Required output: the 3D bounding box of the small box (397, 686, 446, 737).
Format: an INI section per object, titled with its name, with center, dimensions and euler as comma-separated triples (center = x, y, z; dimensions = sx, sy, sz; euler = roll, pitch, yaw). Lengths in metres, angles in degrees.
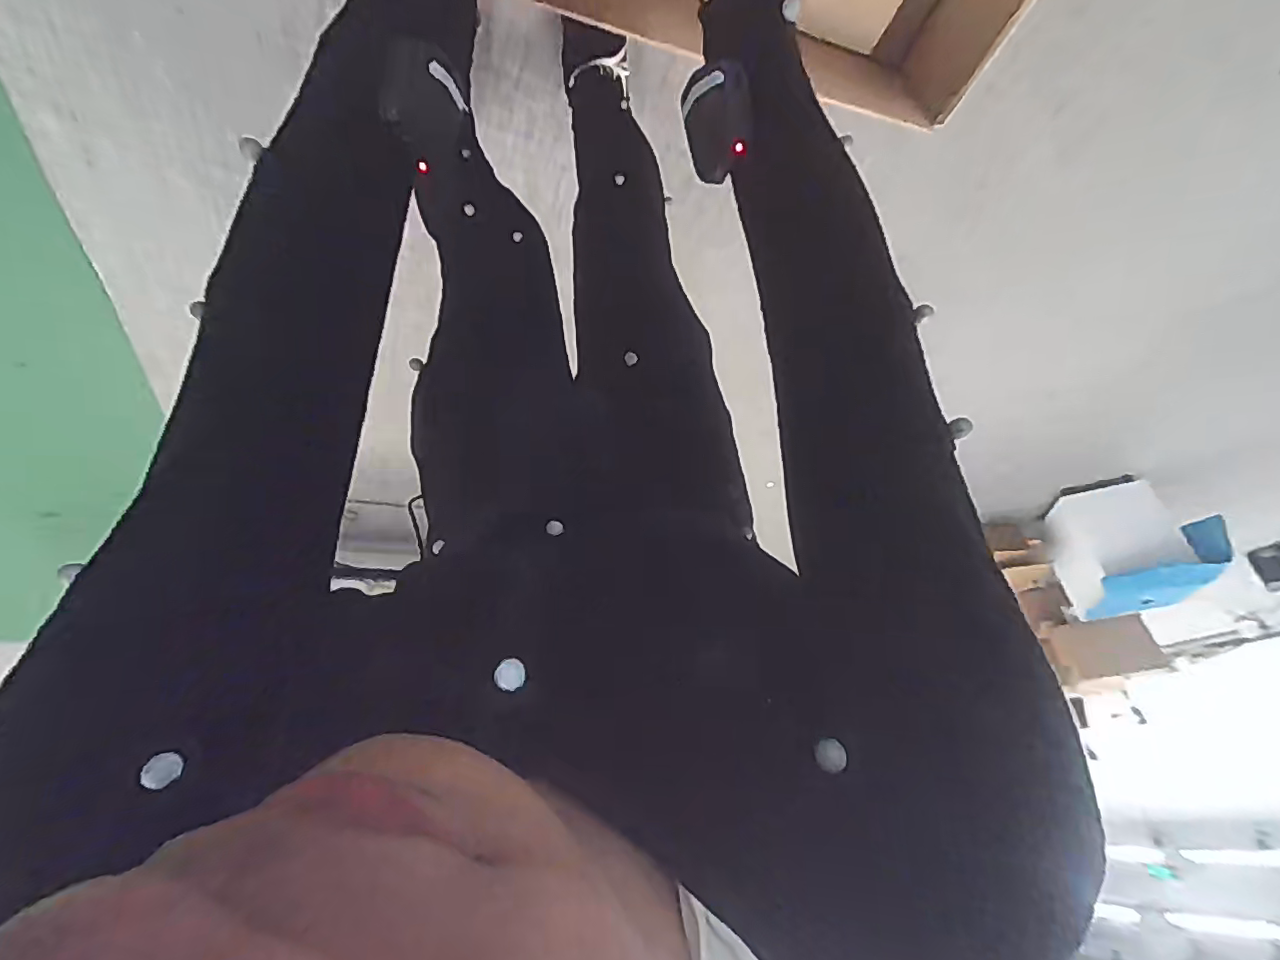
[small box]
center = -0.878, 0.932, 2.177
dimensions = 0.168, 0.176, 0.179
euler = 7, 147, -23
